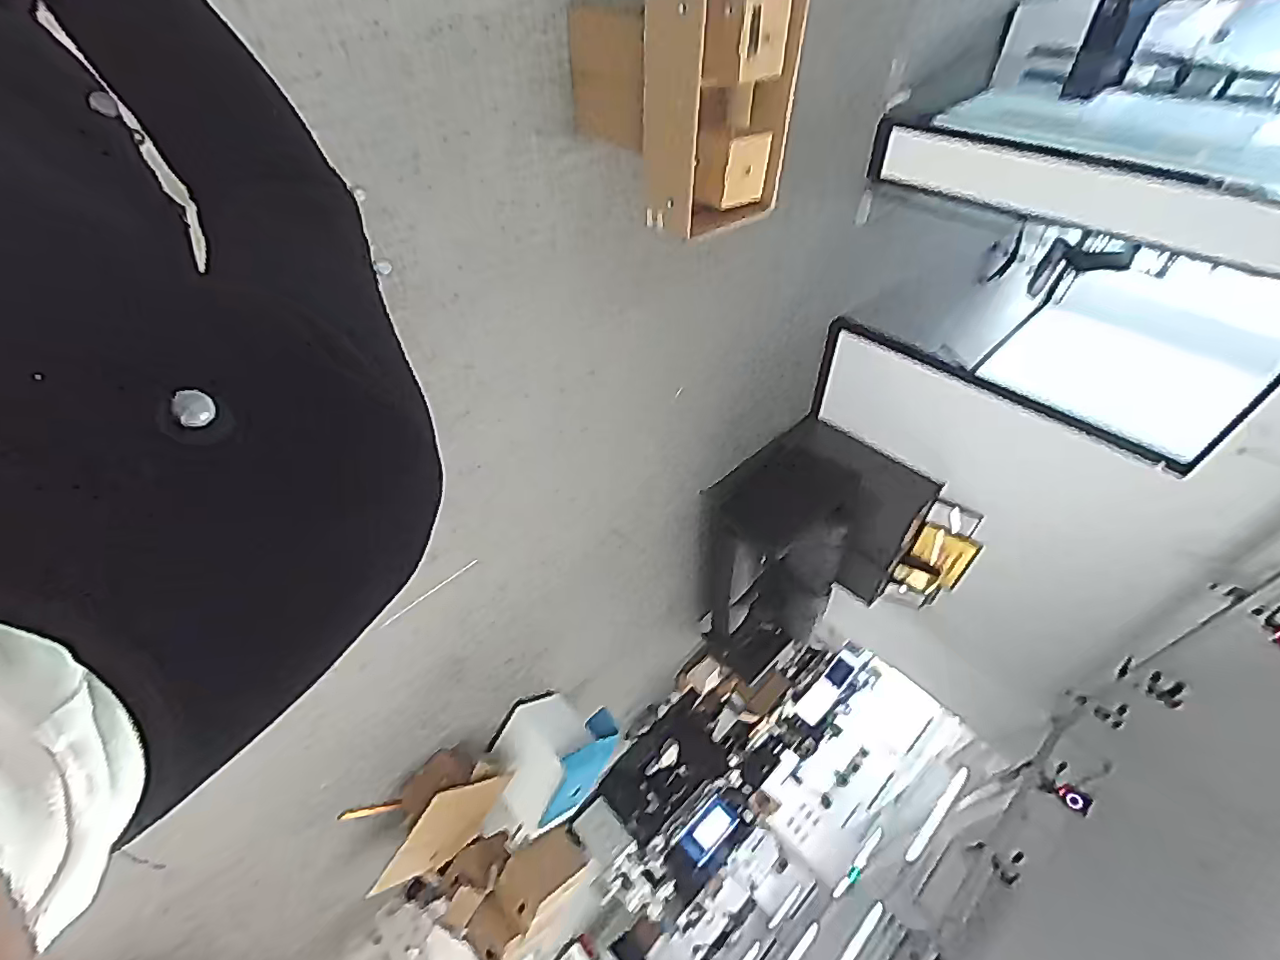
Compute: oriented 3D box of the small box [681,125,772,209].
[{"bbox_3d":[0.240,-0.893,1.534,0.179,0.176,0.168,-31,142,-30],"label":"small box"}]
